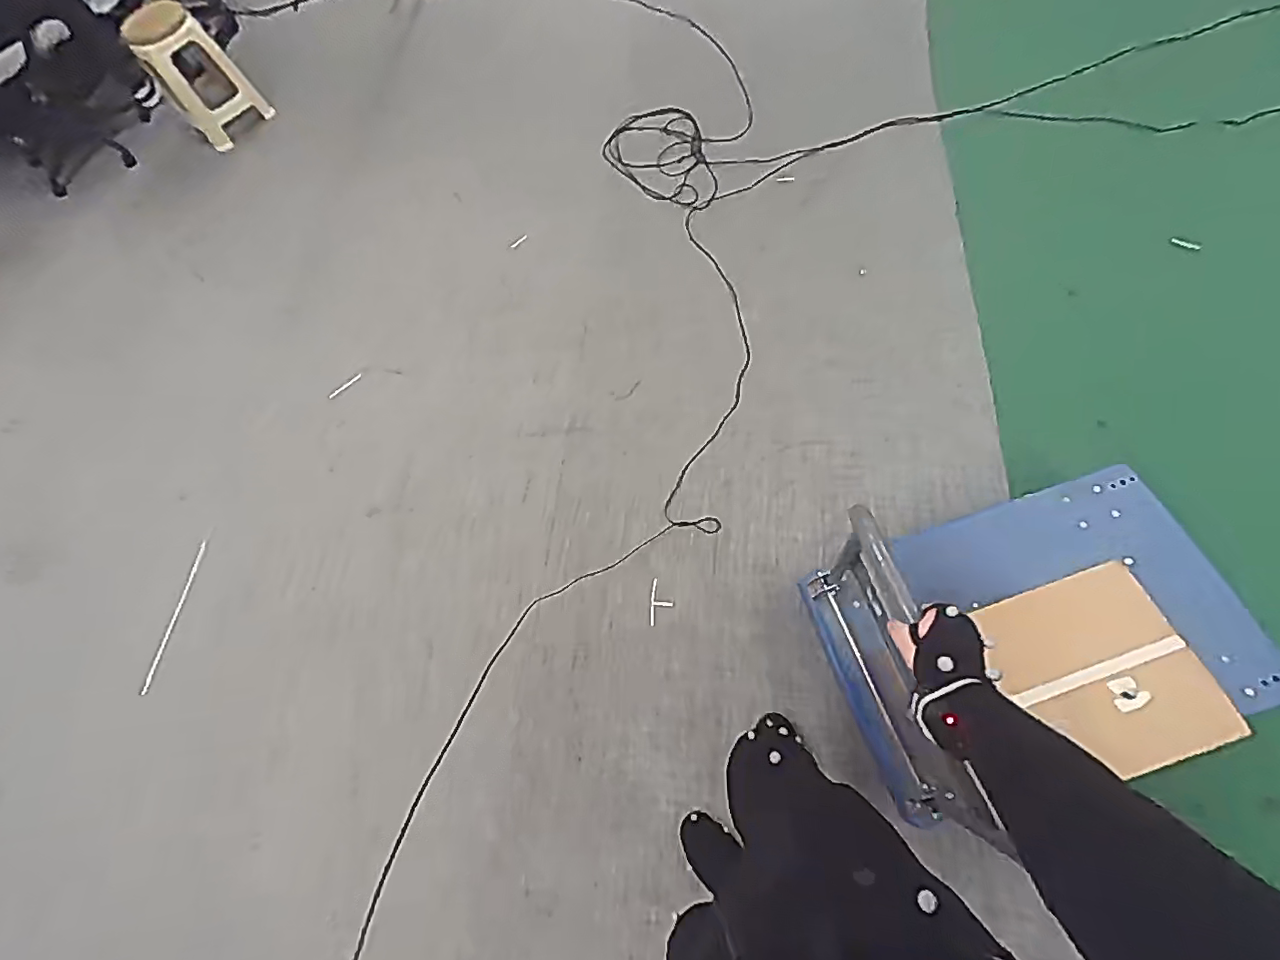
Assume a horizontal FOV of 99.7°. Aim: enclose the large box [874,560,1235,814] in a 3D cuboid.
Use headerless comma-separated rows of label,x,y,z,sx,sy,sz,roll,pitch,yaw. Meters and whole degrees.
large box,0.753,0.404,1.069,0.408,0.320,0.320,-20,66,0
